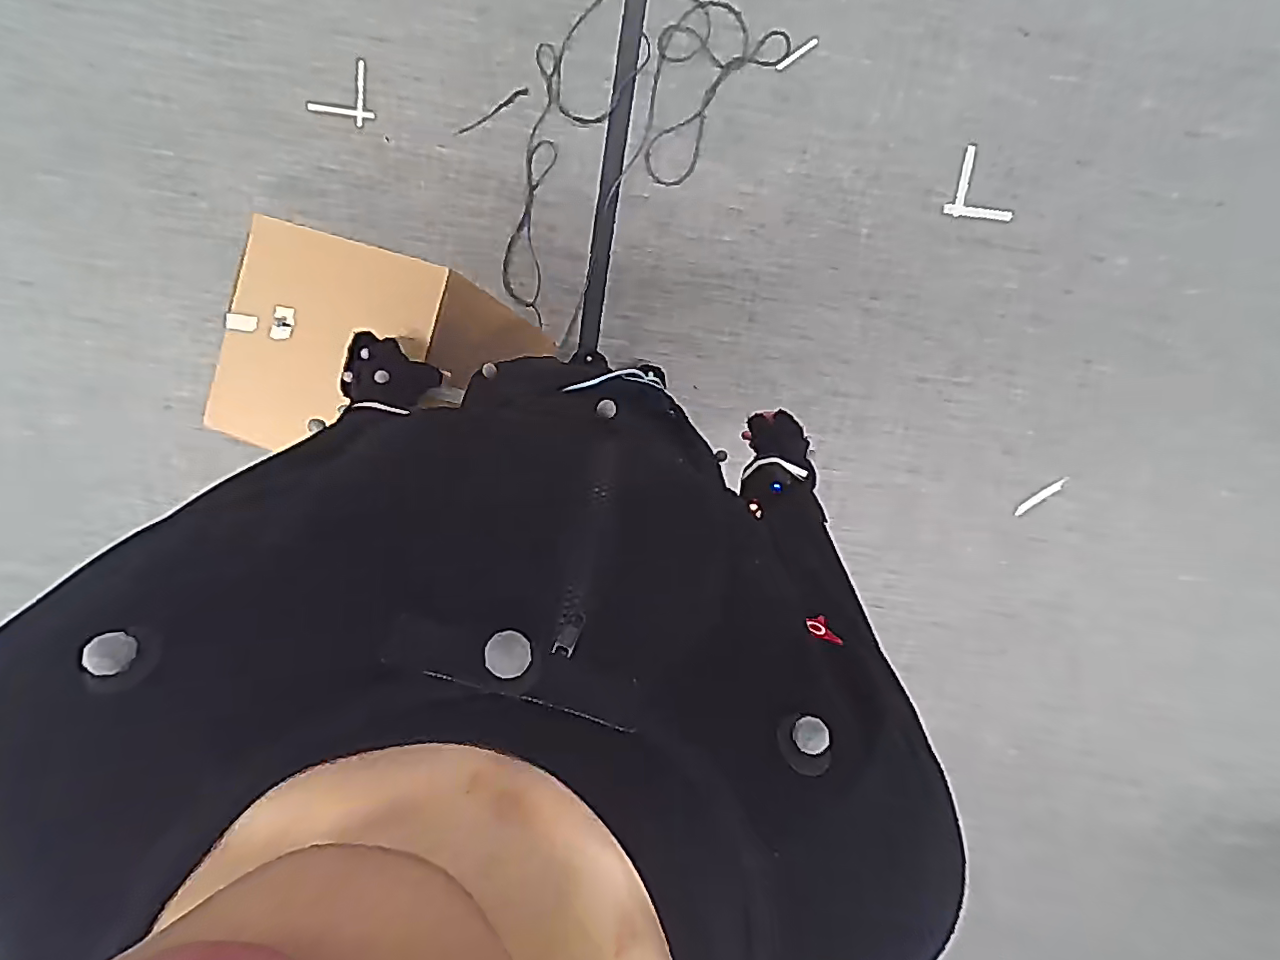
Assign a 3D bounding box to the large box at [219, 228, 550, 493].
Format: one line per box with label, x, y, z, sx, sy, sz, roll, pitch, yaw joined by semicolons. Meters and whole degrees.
large box;-0.404;-0.181;0.943;0.320;0.408;0.320;20;95;9
